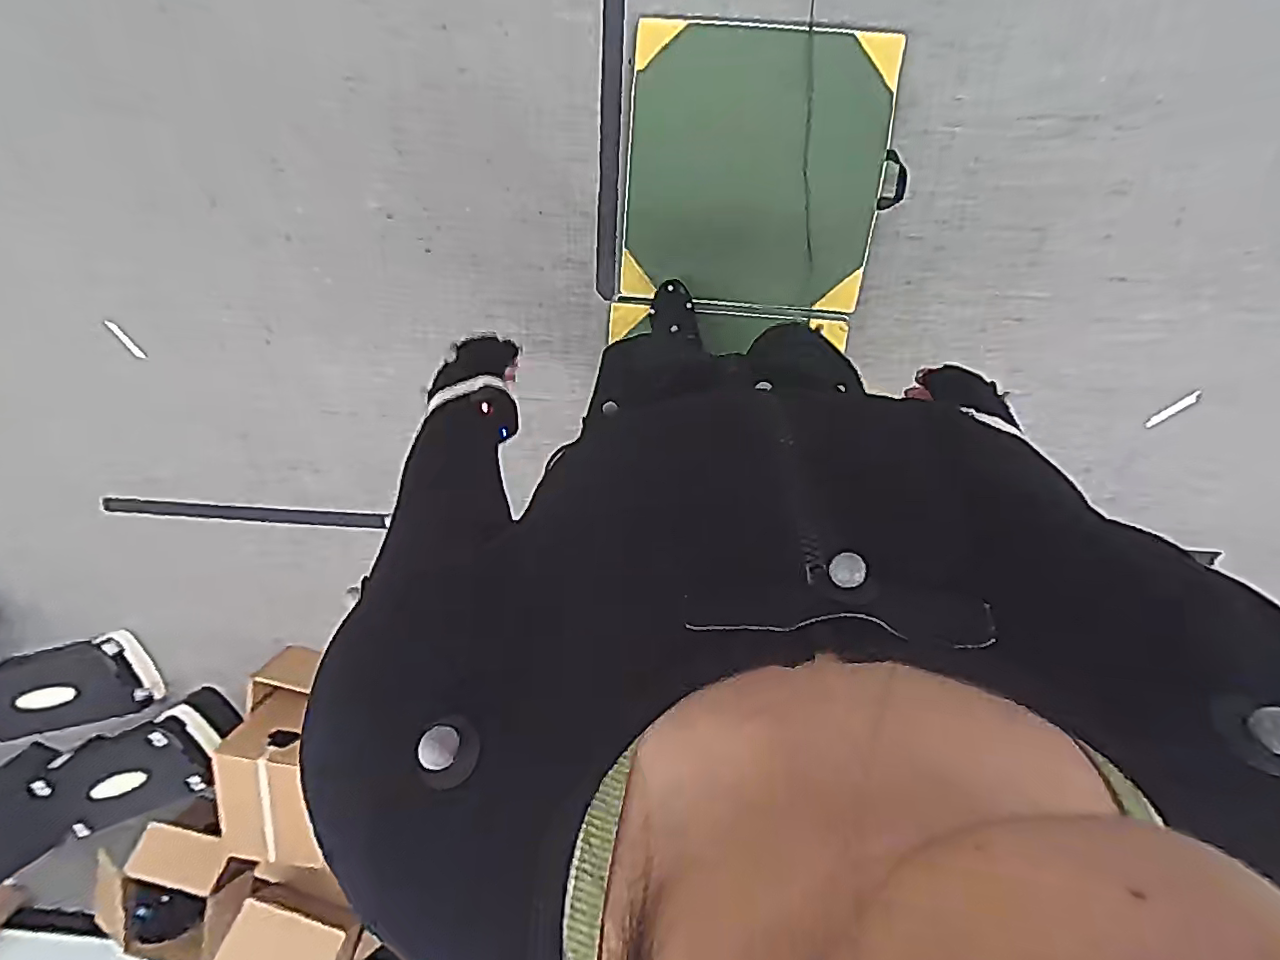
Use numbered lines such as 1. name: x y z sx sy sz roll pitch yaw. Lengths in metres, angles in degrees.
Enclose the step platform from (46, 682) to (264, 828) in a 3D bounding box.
1. step platform: -1.731 0.985 1.931 0.684 0.204 0.286 -25 104 11
